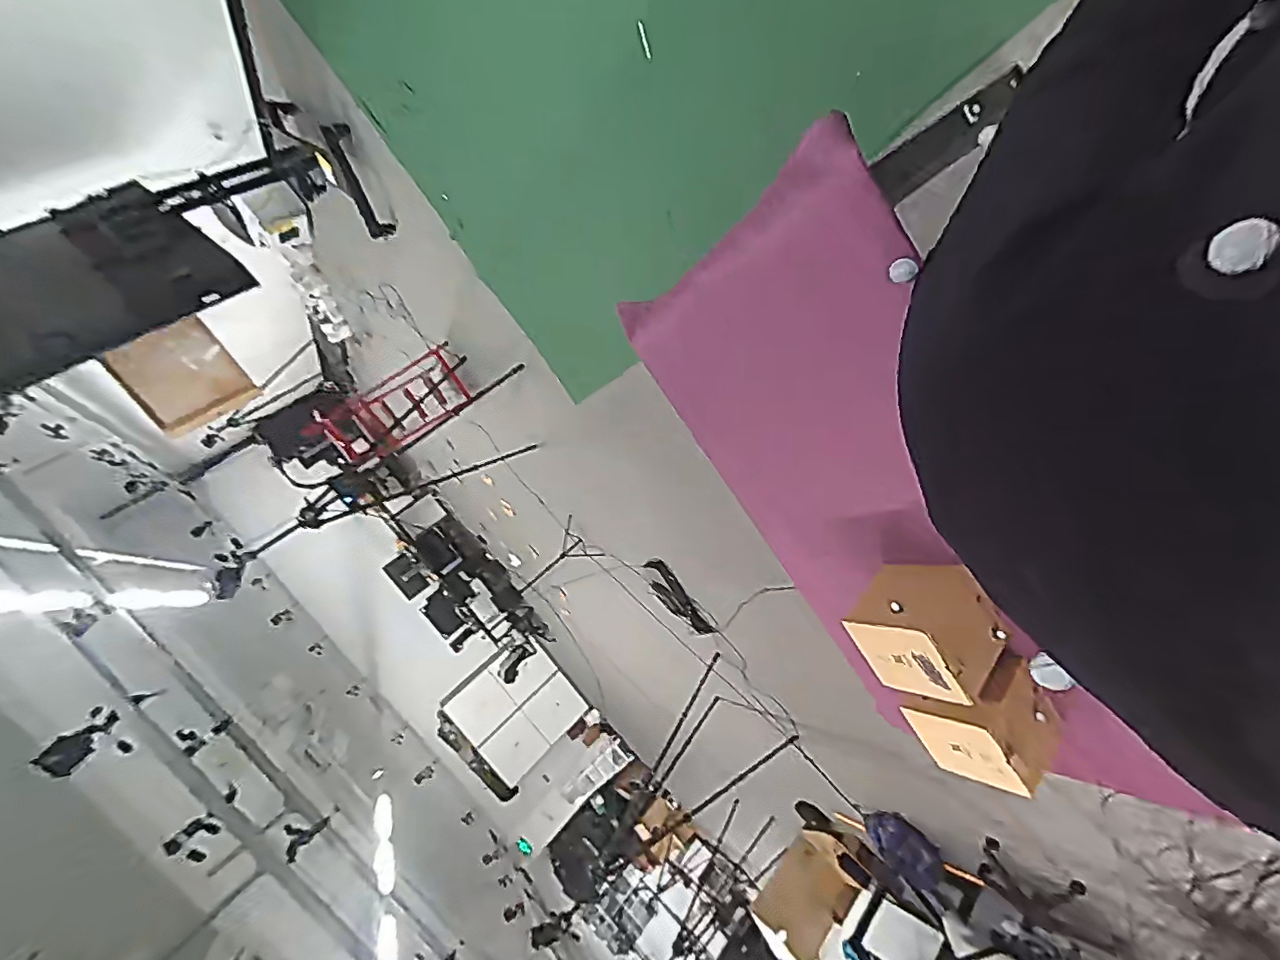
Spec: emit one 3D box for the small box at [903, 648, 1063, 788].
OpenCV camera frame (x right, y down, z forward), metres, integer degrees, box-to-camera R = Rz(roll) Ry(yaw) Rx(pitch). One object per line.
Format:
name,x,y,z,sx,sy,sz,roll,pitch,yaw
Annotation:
small box,0.651,0.431,1.027,0.168,0.176,0.179,54,153,-9

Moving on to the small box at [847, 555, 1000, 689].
small box,0.526,0.253,0.996,0.168,0.176,0.179,50,152,-10
